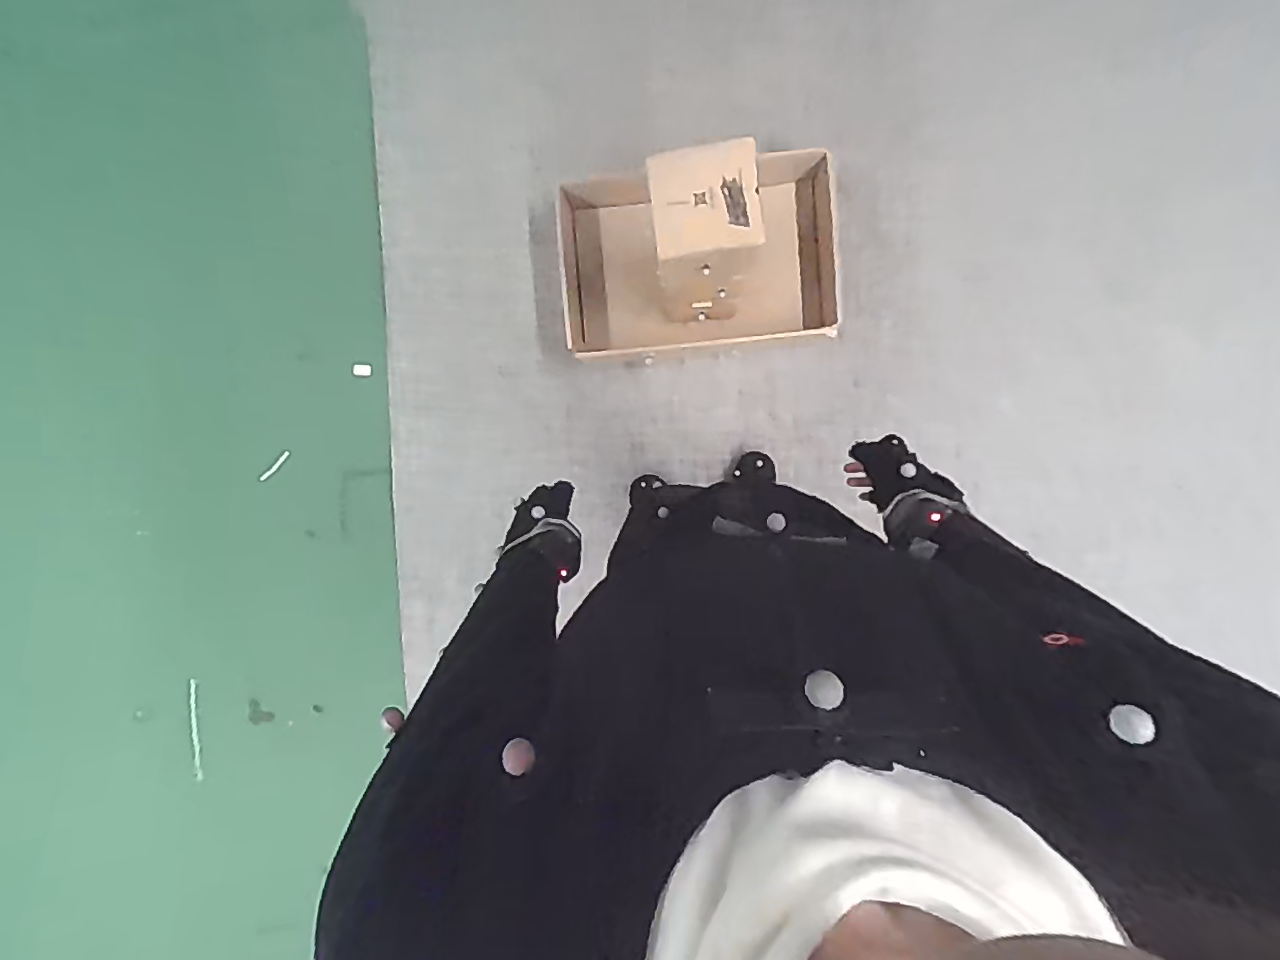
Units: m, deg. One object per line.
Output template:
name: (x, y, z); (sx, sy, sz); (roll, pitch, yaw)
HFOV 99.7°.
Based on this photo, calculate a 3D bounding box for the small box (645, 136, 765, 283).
small box: (0.108, -0.460, 0.946); (0.179, 0.176, 0.168); (-9, 94, 4)

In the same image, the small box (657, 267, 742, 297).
small box: (0.120, -0.481, 1.108); (0.168, 0.176, 0.179); (-2, 93, 5)

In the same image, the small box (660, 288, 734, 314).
small box: (0.133, -0.493, 1.269); (0.168, 0.176, 0.179); (-1, 95, 5)
